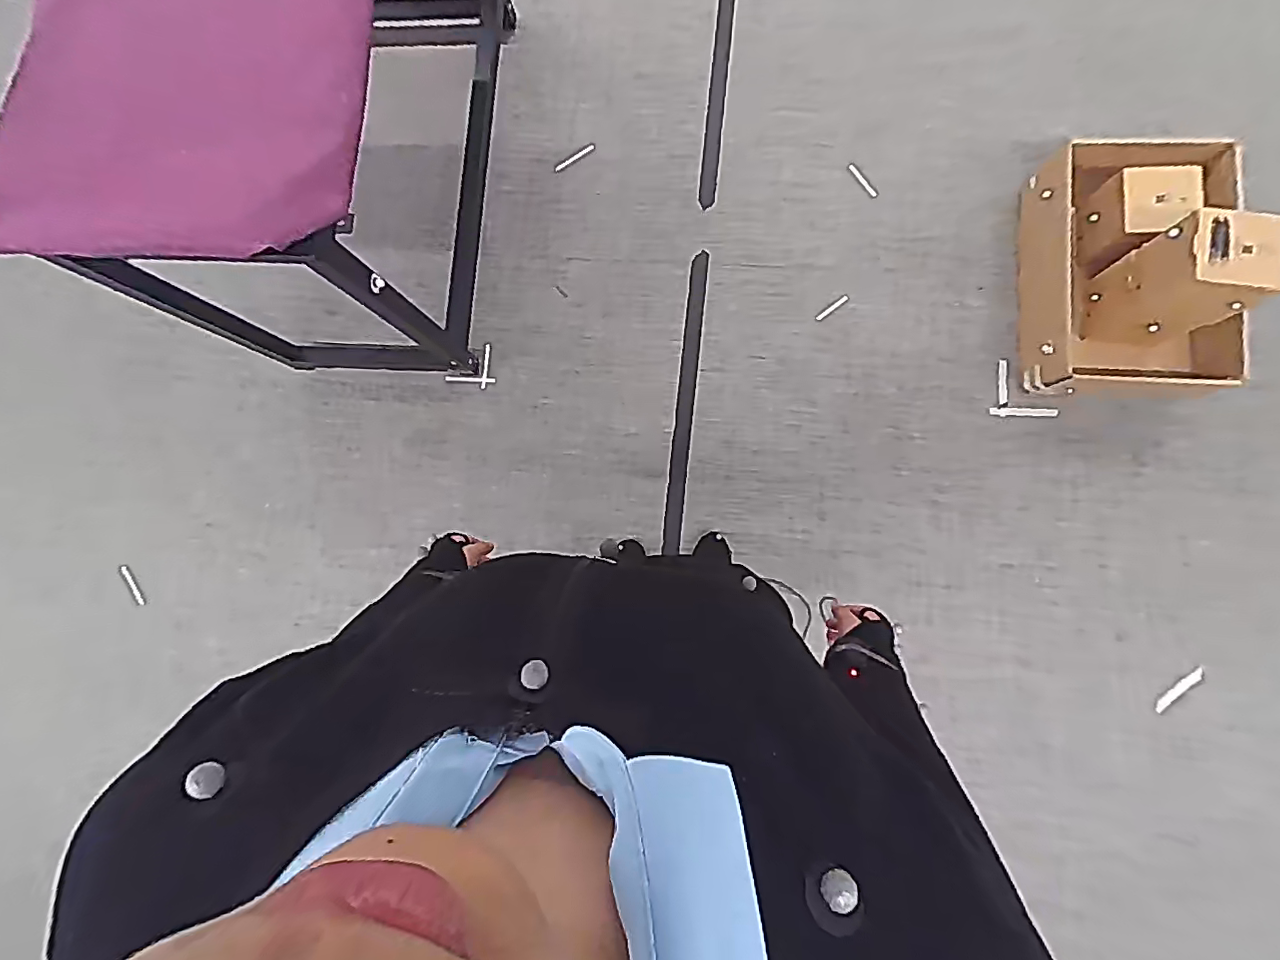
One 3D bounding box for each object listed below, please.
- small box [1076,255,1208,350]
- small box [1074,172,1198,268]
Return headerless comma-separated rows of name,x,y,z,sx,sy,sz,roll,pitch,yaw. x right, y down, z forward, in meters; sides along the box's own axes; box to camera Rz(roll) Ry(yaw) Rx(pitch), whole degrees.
small box,1.253,-0.439,1.359,0.179,0.176,0.168,8,83,7
small box,1.250,-0.654,1.377,0.179,0.176,0.168,2,86,5
